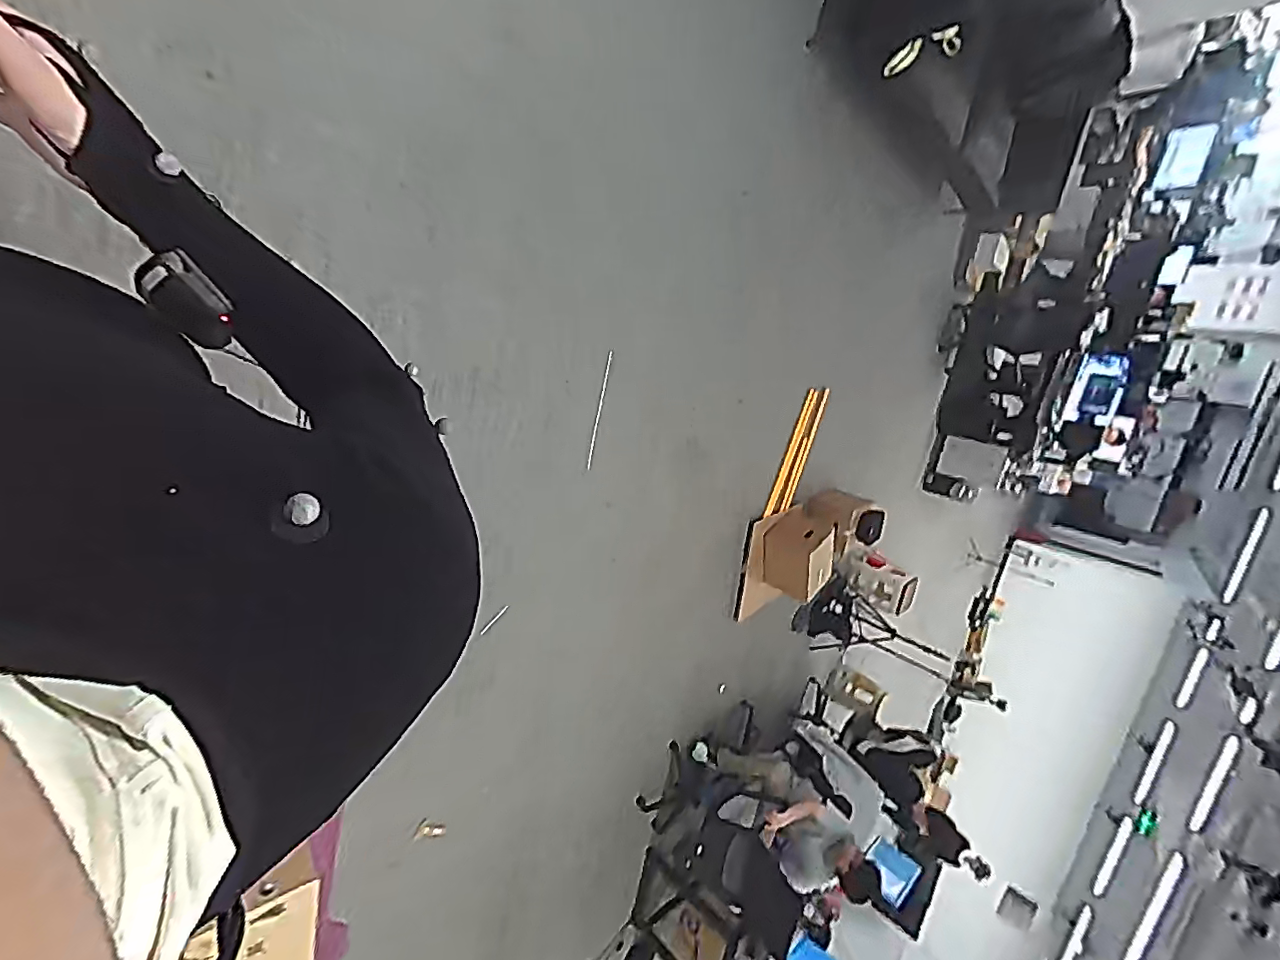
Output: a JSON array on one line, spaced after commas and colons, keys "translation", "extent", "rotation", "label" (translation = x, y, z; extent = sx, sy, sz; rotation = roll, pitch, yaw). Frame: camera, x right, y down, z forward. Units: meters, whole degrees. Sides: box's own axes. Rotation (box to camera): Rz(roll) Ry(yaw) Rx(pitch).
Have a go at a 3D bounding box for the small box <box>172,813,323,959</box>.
[{"translation": [-0.627, 0.687, 0.862], "extent": [0.168, 0.176, 0.179], "rotation": [-1, 108, -46], "label": "small box"}]
